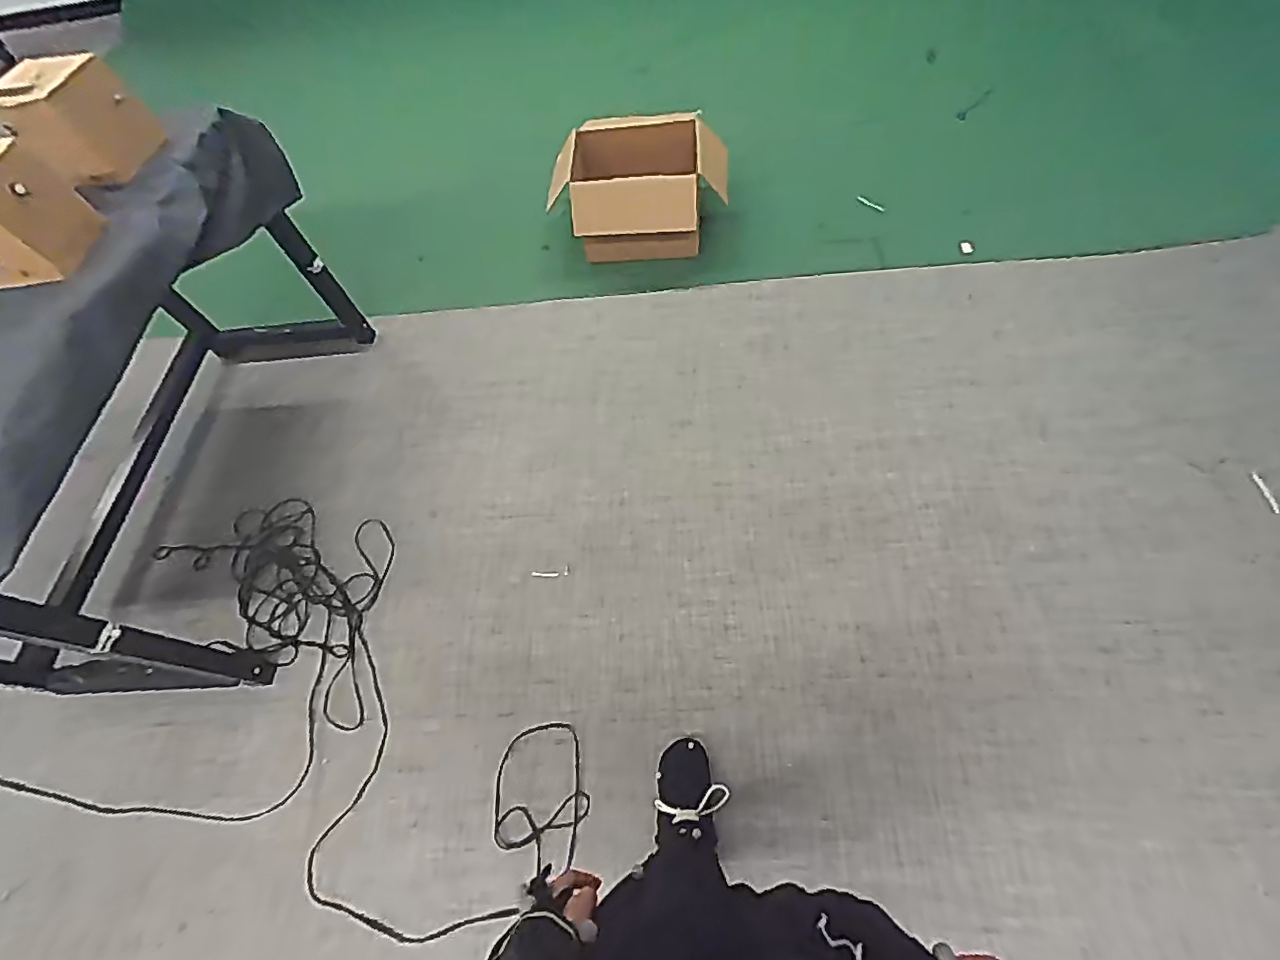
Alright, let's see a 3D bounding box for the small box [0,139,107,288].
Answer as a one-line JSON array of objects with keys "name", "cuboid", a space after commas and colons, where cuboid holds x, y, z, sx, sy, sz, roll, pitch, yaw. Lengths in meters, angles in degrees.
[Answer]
[{"name": "small box", "cuboid": [-1.145, -0.480, 0.984, 0.168, 0.176, 0.179, -6, 61, 3]}]
